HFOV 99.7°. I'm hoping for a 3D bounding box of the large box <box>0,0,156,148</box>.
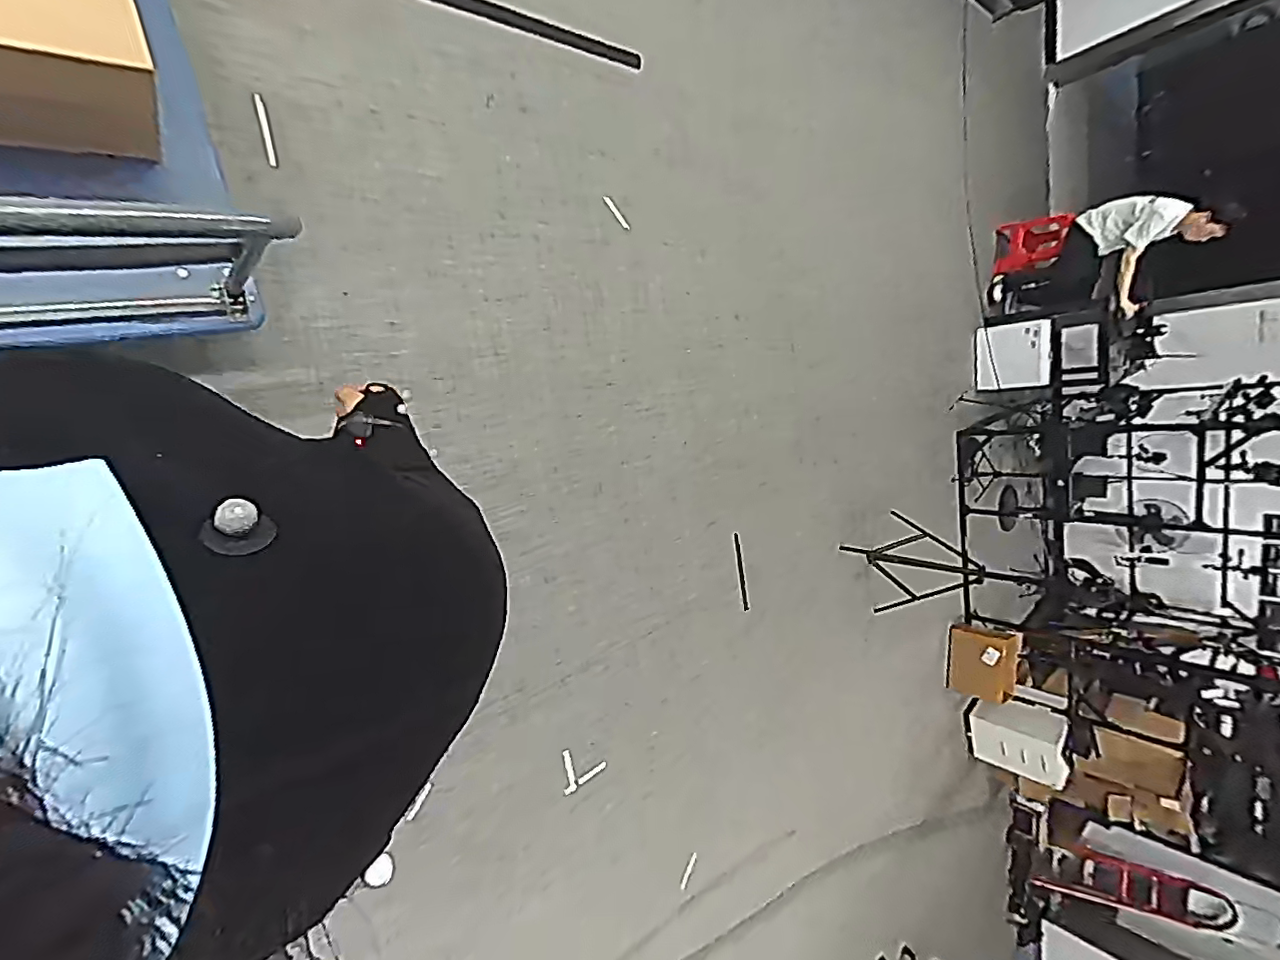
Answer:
[{"bbox_3d":[-0.965,-0.690,0.725,0.408,0.320,0.320,-18,103,-37],"label":"large box"}]
